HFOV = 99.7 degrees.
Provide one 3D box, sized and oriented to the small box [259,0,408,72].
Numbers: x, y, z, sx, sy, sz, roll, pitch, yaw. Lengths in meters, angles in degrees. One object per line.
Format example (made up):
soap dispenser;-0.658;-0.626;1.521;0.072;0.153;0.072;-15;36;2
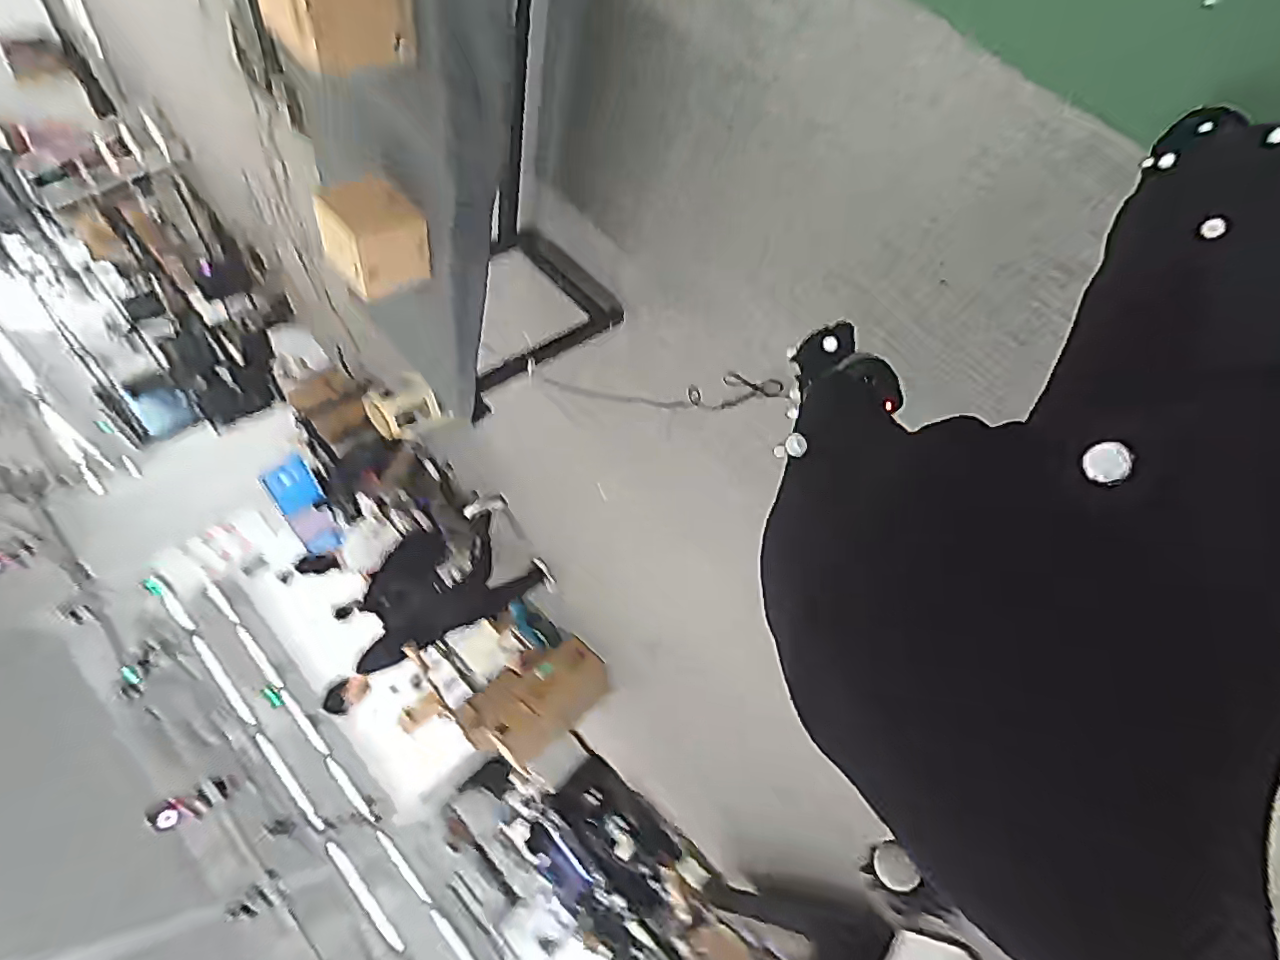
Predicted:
small box;-0.475;-0.771;0.827;0.179;0.176;0.168;48;149;13

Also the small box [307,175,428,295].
small box;-0.602;-0.554;1.212;0.179;0.176;0.168;47;148;13
